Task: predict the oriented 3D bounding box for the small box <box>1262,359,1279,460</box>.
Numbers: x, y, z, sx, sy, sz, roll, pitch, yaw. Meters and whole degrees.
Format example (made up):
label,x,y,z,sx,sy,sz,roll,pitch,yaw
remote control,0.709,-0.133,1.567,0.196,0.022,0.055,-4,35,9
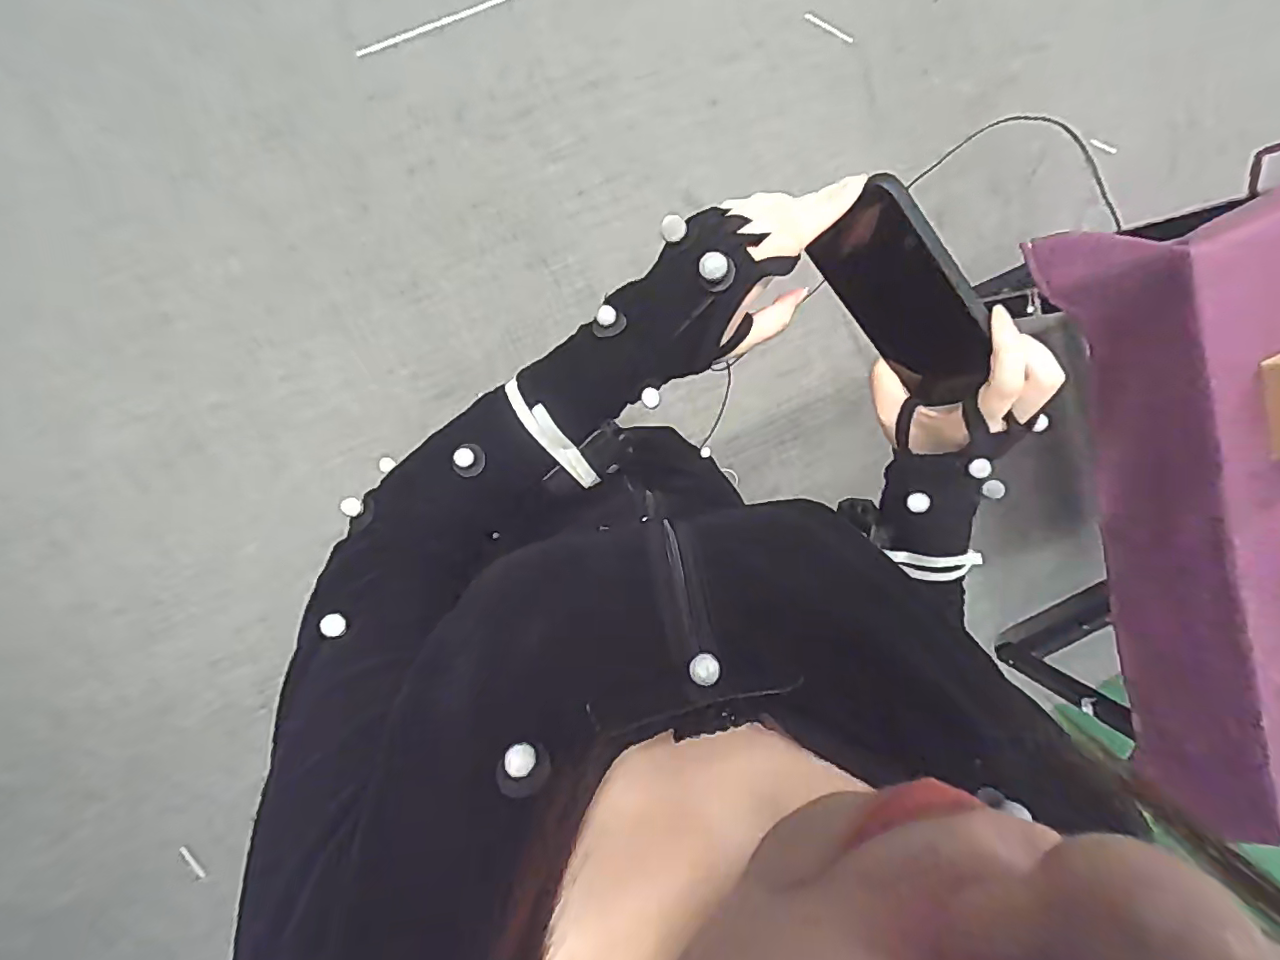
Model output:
label,x,y,z,sx,sy,sz,roll,pitch,yaw
small box,1.121,-0.125,0.828,0.168,0.176,0.179,-23,103,-5
